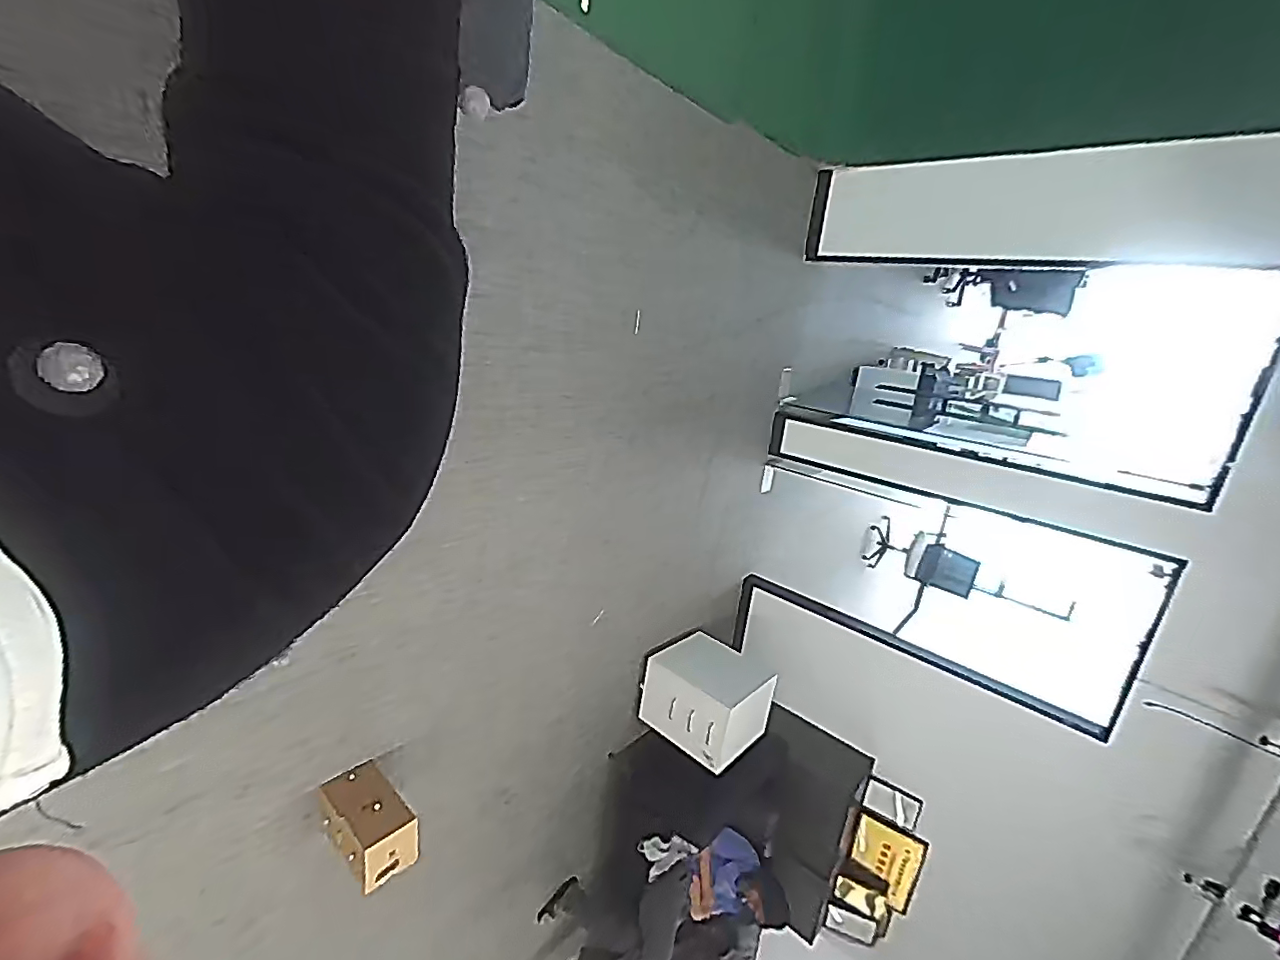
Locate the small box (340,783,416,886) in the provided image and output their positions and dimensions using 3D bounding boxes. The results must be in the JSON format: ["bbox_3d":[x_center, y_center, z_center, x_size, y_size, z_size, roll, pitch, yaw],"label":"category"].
[{"bbox_3d":[-0.832,1.114,1.716,0.168,0.176,0.179,-13,116,-49],"label":"small box"}]

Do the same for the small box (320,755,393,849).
[{"bbox_3d":[-0.957,1.075,1.817,0.179,0.176,0.168,-11,115,-49],"label":"small box"}]
